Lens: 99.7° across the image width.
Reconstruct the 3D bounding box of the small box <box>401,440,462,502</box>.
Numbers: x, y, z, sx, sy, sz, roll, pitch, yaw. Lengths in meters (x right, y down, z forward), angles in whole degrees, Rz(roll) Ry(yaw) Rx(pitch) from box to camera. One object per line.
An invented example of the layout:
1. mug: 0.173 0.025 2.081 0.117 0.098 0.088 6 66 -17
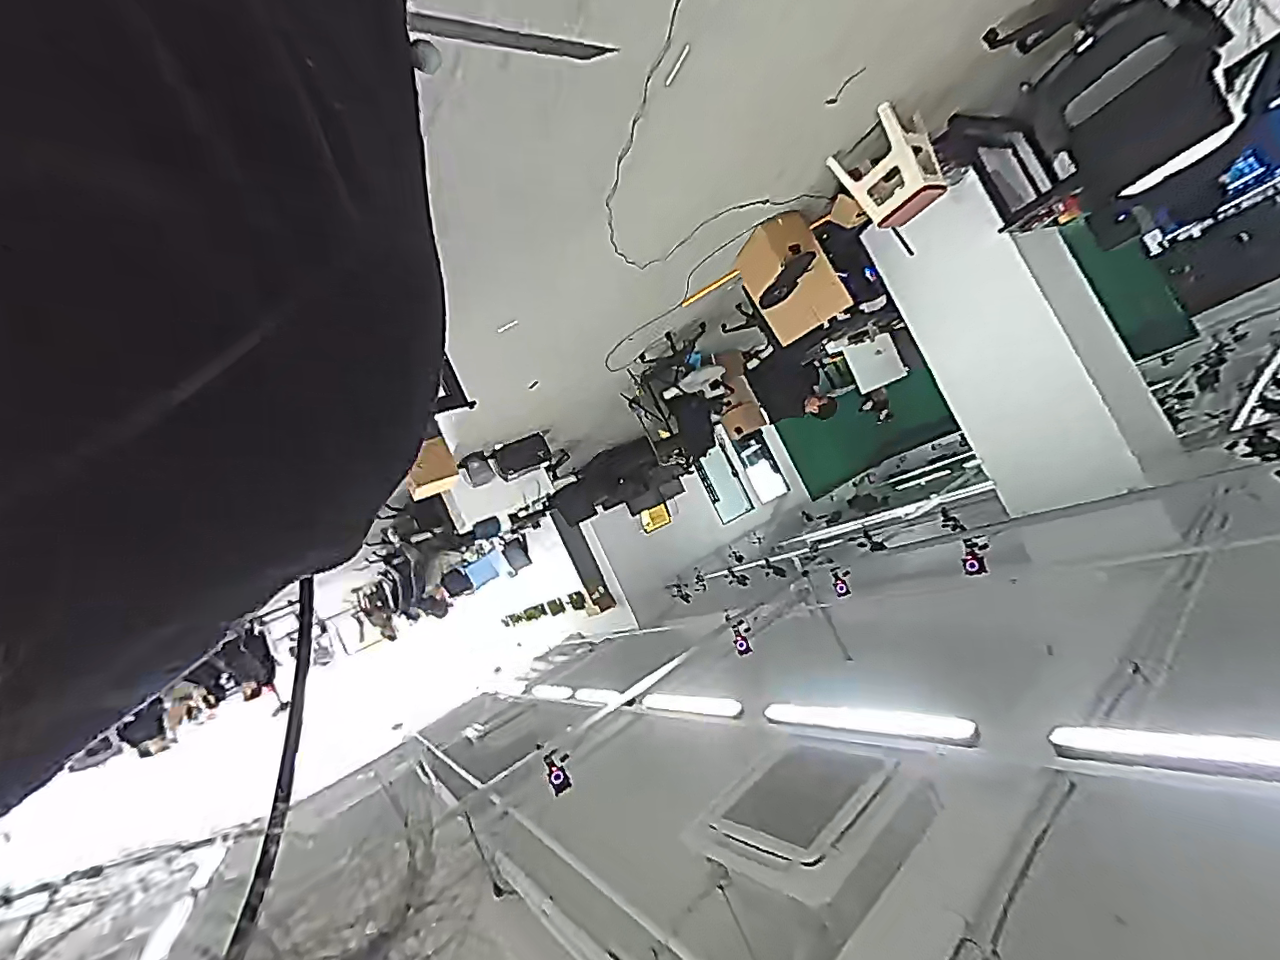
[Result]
1. small box: -0.801 -0.040 2.071 0.168 0.176 0.179 -22 175 -29
